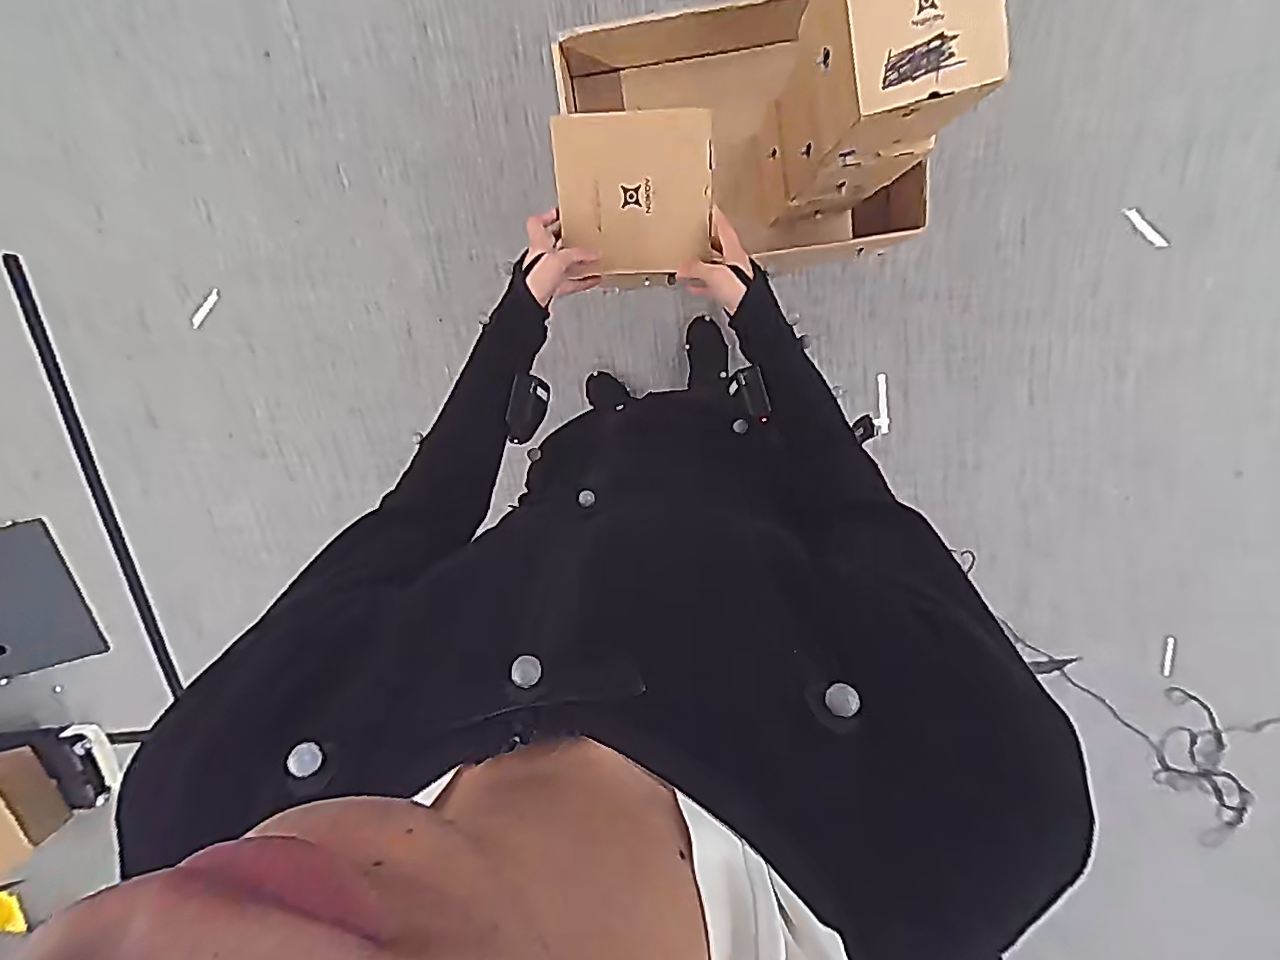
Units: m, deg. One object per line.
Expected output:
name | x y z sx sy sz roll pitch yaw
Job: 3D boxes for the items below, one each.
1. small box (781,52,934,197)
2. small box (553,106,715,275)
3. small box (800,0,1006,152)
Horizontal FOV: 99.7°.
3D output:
small box | 0.317 -0.555 0.815 0.168 0.176 0.179 -9 104 4
small box | -0.006 -0.349 0.678 0.179 0.176 0.168 -2 111 0
small box | 0.304 -0.524 0.653 0.168 0.176 0.179 -13 103 5
